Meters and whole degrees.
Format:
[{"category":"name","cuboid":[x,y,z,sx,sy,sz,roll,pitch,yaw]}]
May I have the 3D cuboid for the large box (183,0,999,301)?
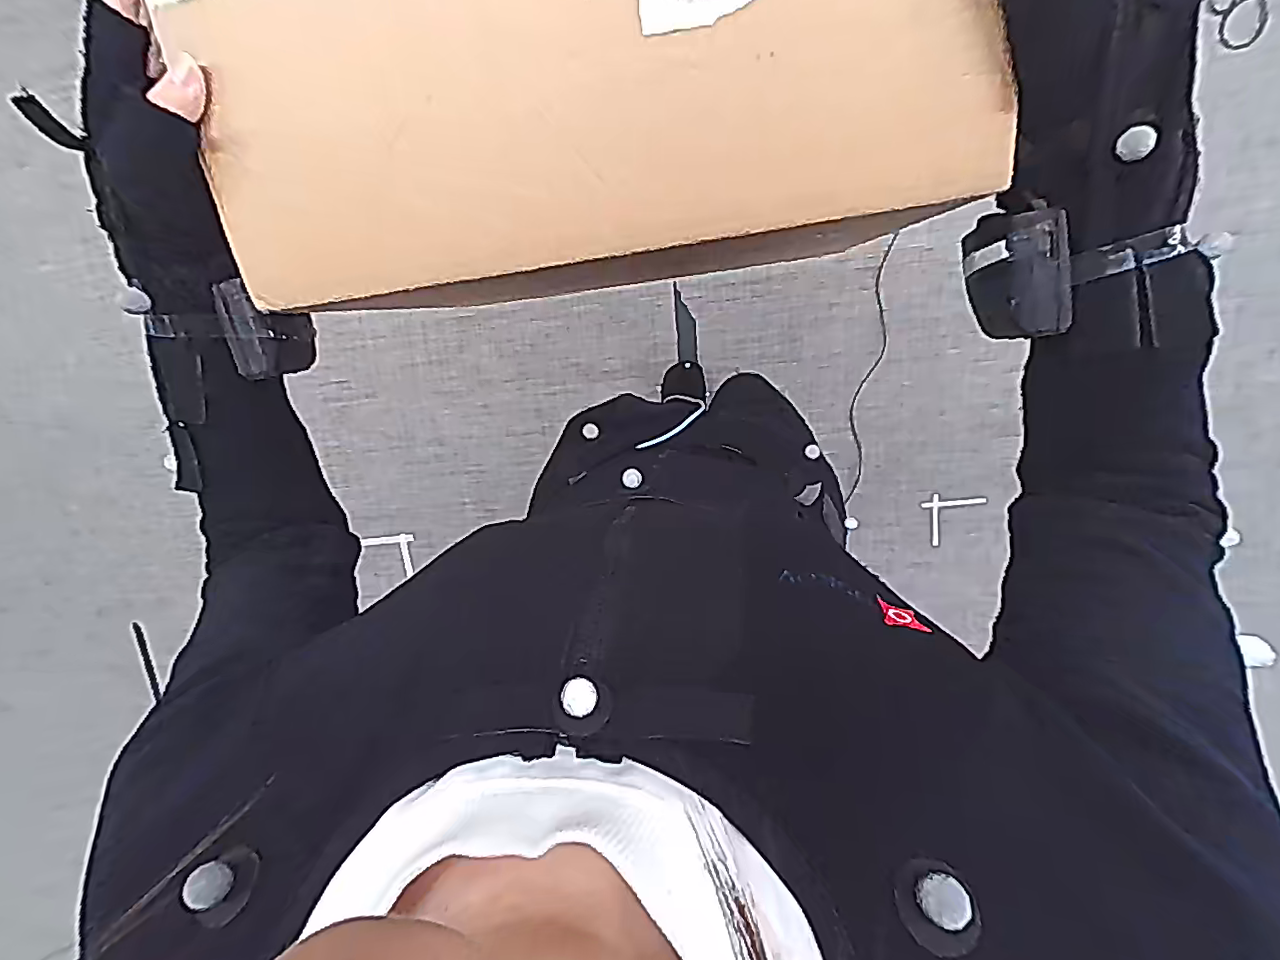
[{"category":"large box","cuboid":[-0.029,-0.321,0.392,0.408,0.320,0.320,-6,108,8]}]
